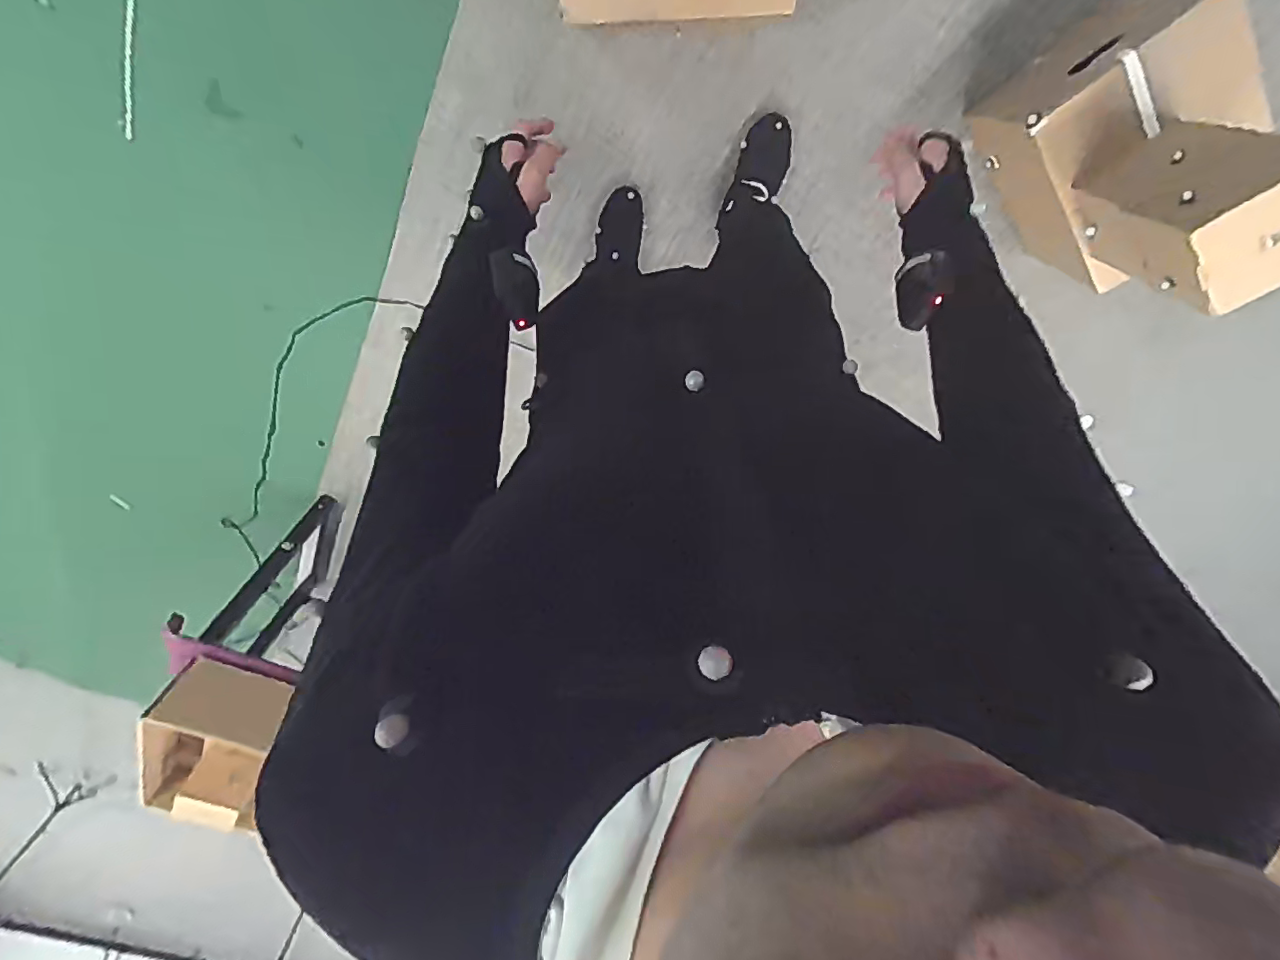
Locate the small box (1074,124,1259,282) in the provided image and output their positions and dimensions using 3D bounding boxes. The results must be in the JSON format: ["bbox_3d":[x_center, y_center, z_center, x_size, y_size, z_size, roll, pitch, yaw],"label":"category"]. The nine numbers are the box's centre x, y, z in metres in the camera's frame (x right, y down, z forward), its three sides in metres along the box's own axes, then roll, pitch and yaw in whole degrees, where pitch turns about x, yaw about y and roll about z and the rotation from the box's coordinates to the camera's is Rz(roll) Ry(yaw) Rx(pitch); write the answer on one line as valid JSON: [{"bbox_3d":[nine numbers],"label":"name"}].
[{"bbox_3d":[0.923,-0.490,0.950,0.179,0.176,0.168,-30,118,27],"label":"small box"}]

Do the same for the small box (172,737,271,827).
[{"bbox_3d":[-1.236,0.893,1.607,0.168,0.176,0.179,28,124,-17],"label":"small box"}]

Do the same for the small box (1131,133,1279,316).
[{"bbox_3d":[0.902,-0.390,0.823,0.179,0.176,0.168,-32,118,27],"label":"small box"}]

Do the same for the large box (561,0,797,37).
[{"bbox_3d":[0.072,-1.002,0.957,0.408,0.320,0.320,1,126,6],"label":"large box"}]
